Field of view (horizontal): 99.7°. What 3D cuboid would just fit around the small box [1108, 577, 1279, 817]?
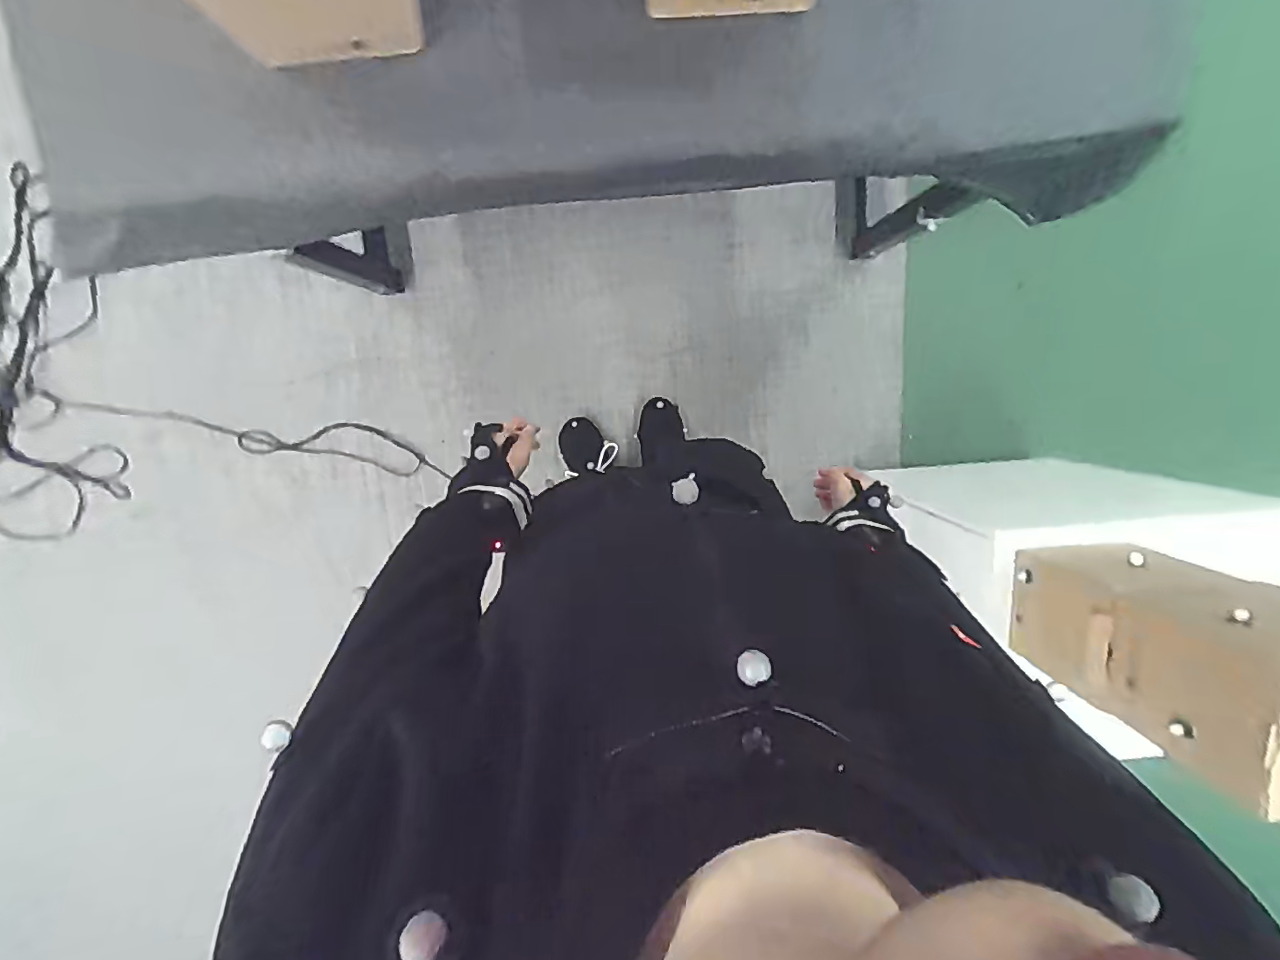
[{"bbox_3d":[0.656,0.216,0.579,0.179,0.176,0.168,-7,102,-2],"label":"small box"}]

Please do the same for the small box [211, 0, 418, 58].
[{"bbox_3d":[-0.307,-0.503,0.452,0.168,0.176,0.179,-6,100,-1],"label":"small box"}]

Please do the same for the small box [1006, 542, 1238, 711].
[{"bbox_3d":[0.641,0.189,0.739,0.179,0.176,0.168,-4,101,-2],"label":"small box"}]

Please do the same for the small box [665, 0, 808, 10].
[{"bbox_3d":[0.090,-0.544,0.458,0.168,0.176,0.179,-3,100,-1],"label":"small box"}]
